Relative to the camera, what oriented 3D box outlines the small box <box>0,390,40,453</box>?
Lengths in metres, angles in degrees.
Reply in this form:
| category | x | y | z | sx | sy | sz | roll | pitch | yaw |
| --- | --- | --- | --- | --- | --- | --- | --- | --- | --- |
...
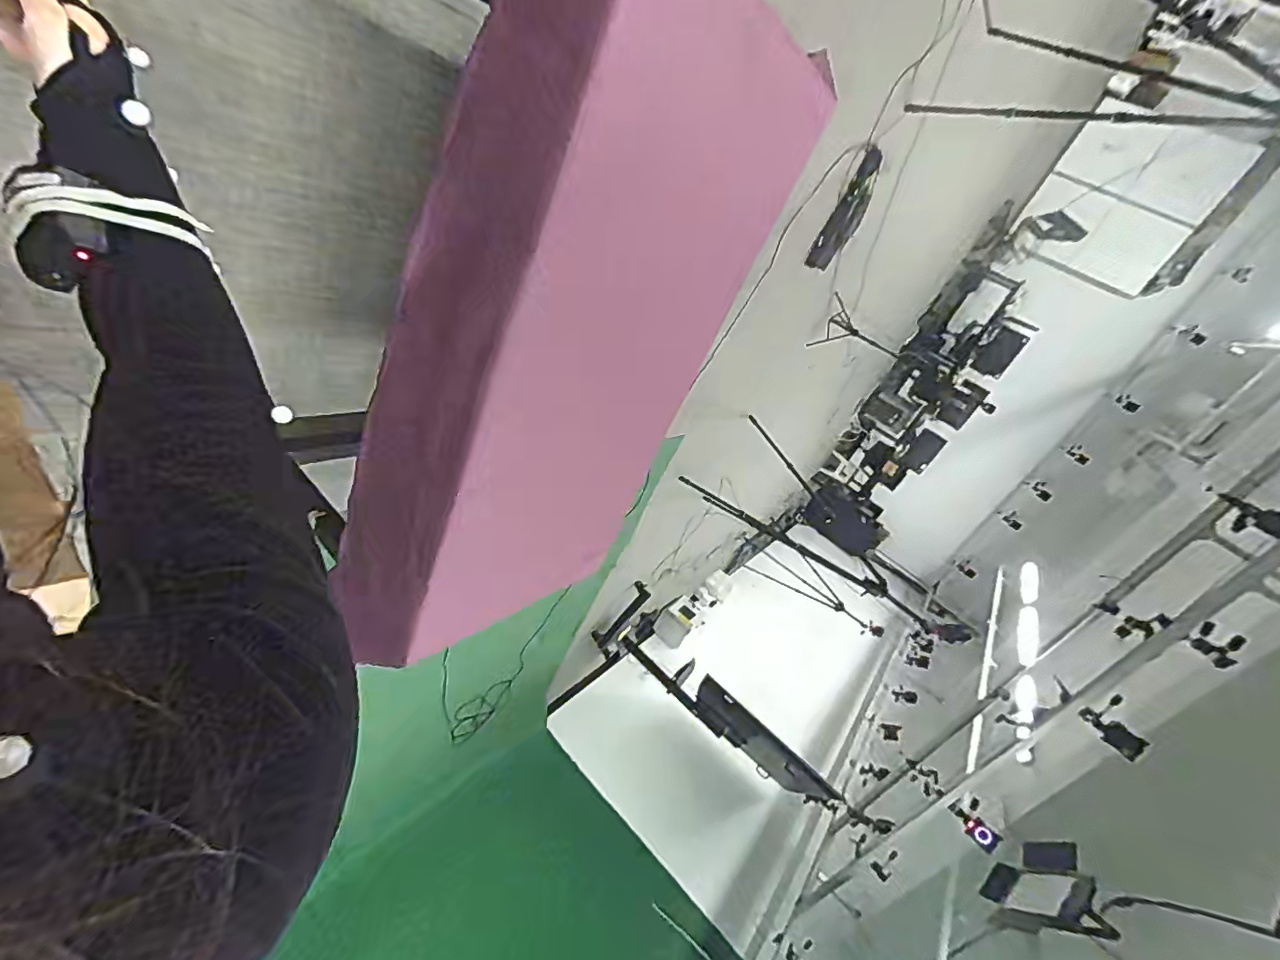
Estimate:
| category | x | y | z | sx | sy | sz | roll | pitch | yaw |
| --- | --- | --- | --- | --- | --- | --- | --- | --- | --- |
| small box | -1.131 | -0.046 | 0.887 | 0.168 | 0.176 | 0.179 | -15 | 140 | -56 |

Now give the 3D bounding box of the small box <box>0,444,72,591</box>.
| category | x | y | z | sx | sy | sz | roll | pitch | yaw |
| --- | --- | --- | --- | --- | --- | --- | --- | --- | --- |
| small box | -1.018 | 0.057 | 0.831 | 0.168 | 0.176 | 0.179 | -17 | 142 | -54 |
